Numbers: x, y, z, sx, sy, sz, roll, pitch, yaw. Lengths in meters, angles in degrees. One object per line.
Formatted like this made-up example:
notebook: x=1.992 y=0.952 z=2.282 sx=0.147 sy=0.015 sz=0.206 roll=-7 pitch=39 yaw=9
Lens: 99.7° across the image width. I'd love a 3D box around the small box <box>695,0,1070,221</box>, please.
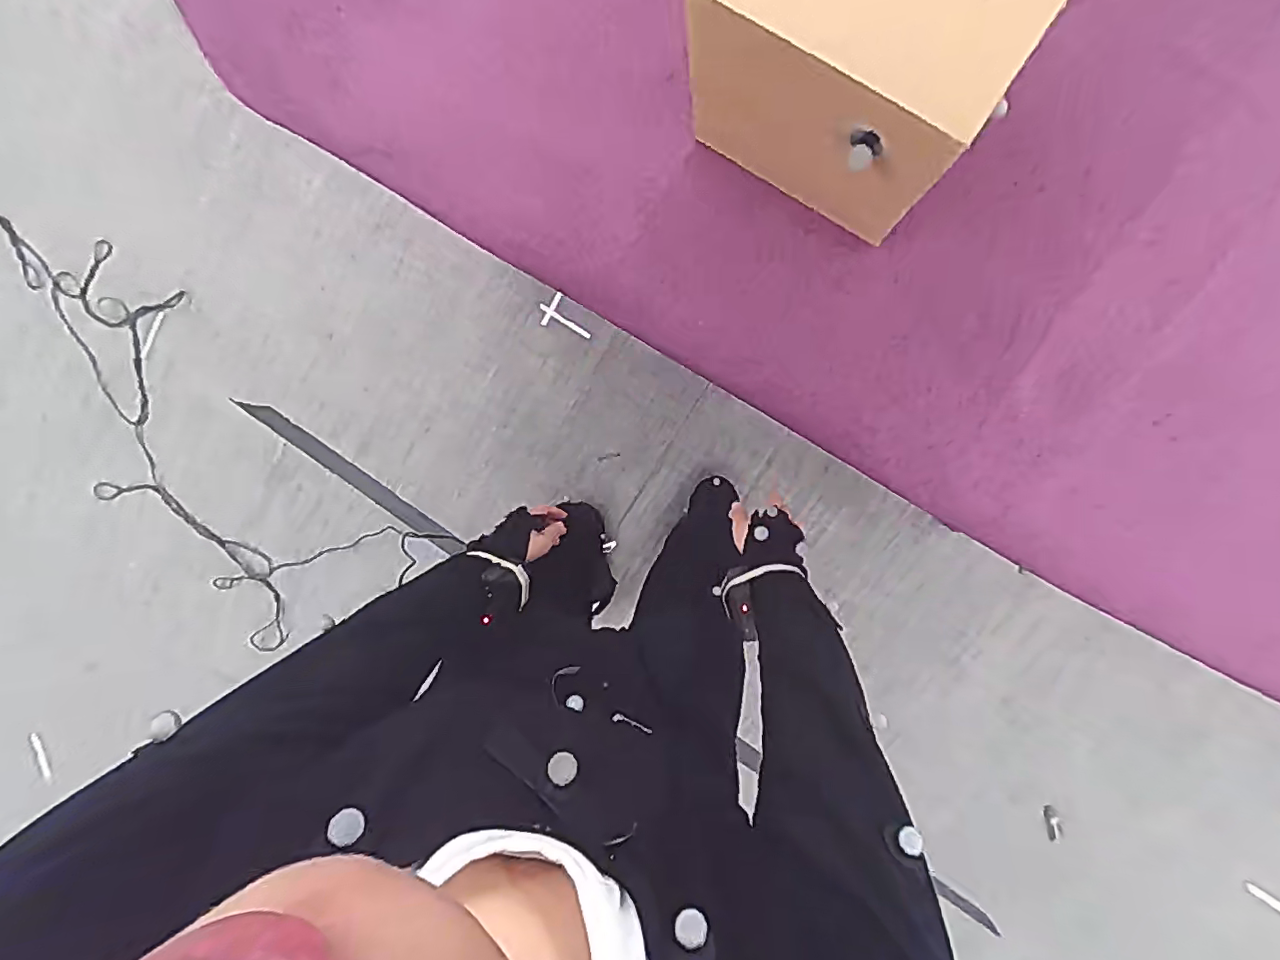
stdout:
small box: x=0.153 y=-0.297 z=0.346 sx=0.179 sy=0.176 sz=0.168 roll=33 pitch=99 yaw=4
